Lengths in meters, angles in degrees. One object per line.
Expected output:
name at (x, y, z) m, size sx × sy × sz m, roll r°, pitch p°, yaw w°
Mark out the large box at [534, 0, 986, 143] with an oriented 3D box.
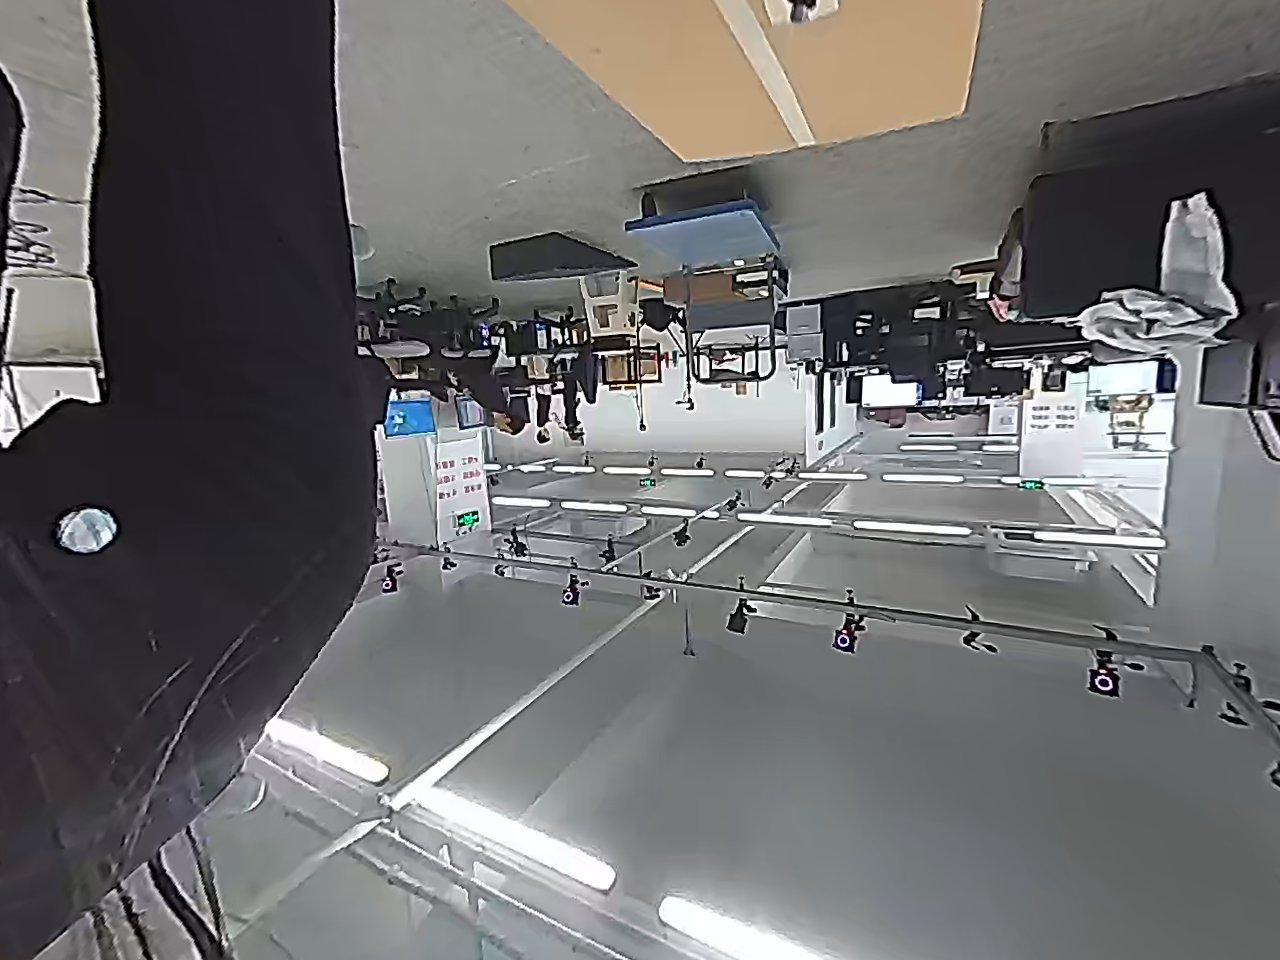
large box at (0.101, -0.515, 0.402) m, size 0.320 × 0.320 × 0.408 m, roll 7°, pitch -168°, yaw 27°
